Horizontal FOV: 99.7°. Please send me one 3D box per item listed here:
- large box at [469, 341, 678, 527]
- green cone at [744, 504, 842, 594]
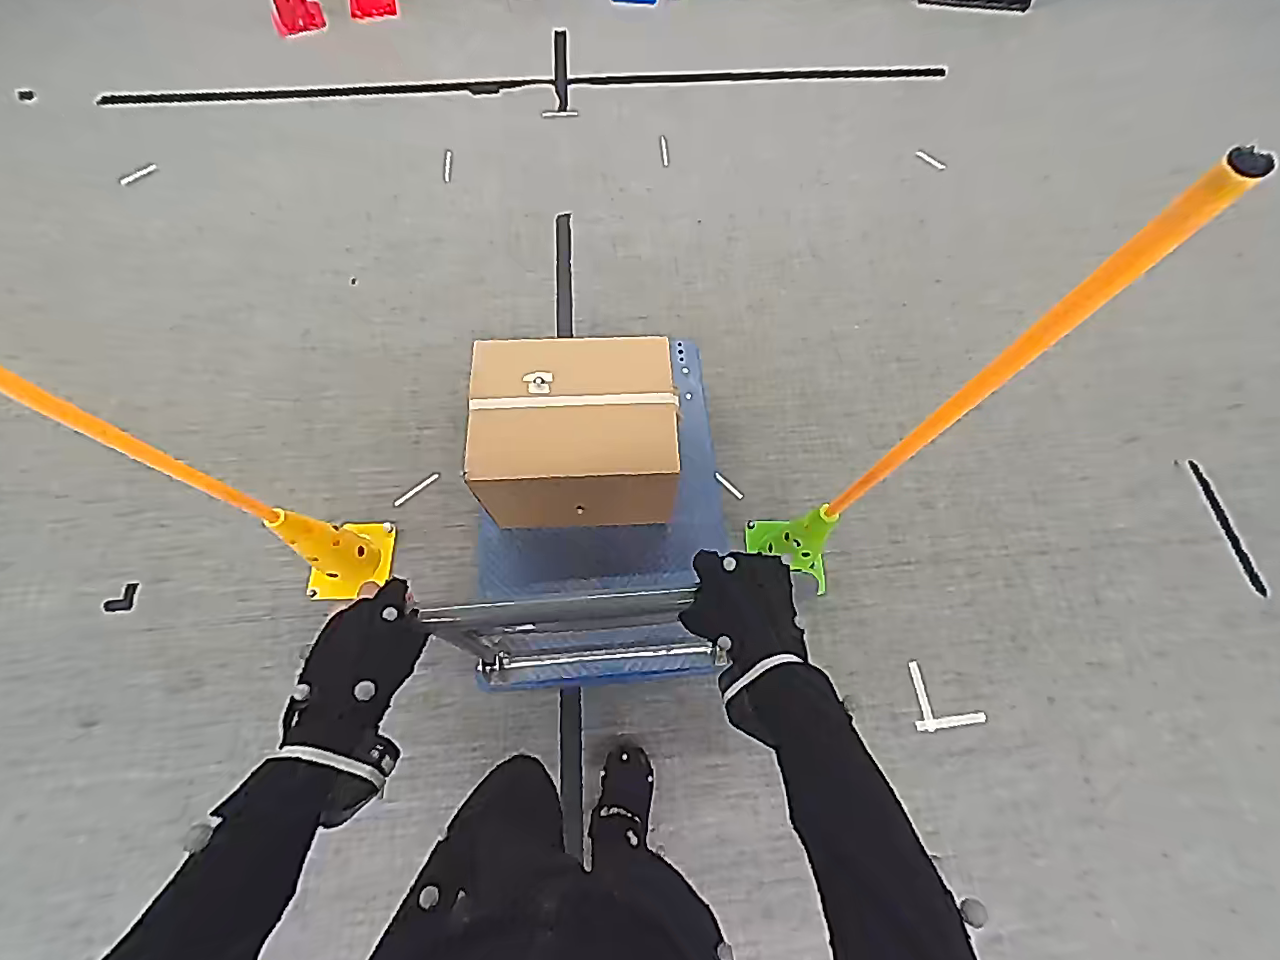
[{"bbox_3d":[-0.134,-0.088,1.218,0.408,0.320,0.320,-2,68,-1],"label":"large box"},{"bbox_3d":[0.389,0.140,1.293,0.202,0.368,0.200,1,68,-2],"label":"green cone"}]
